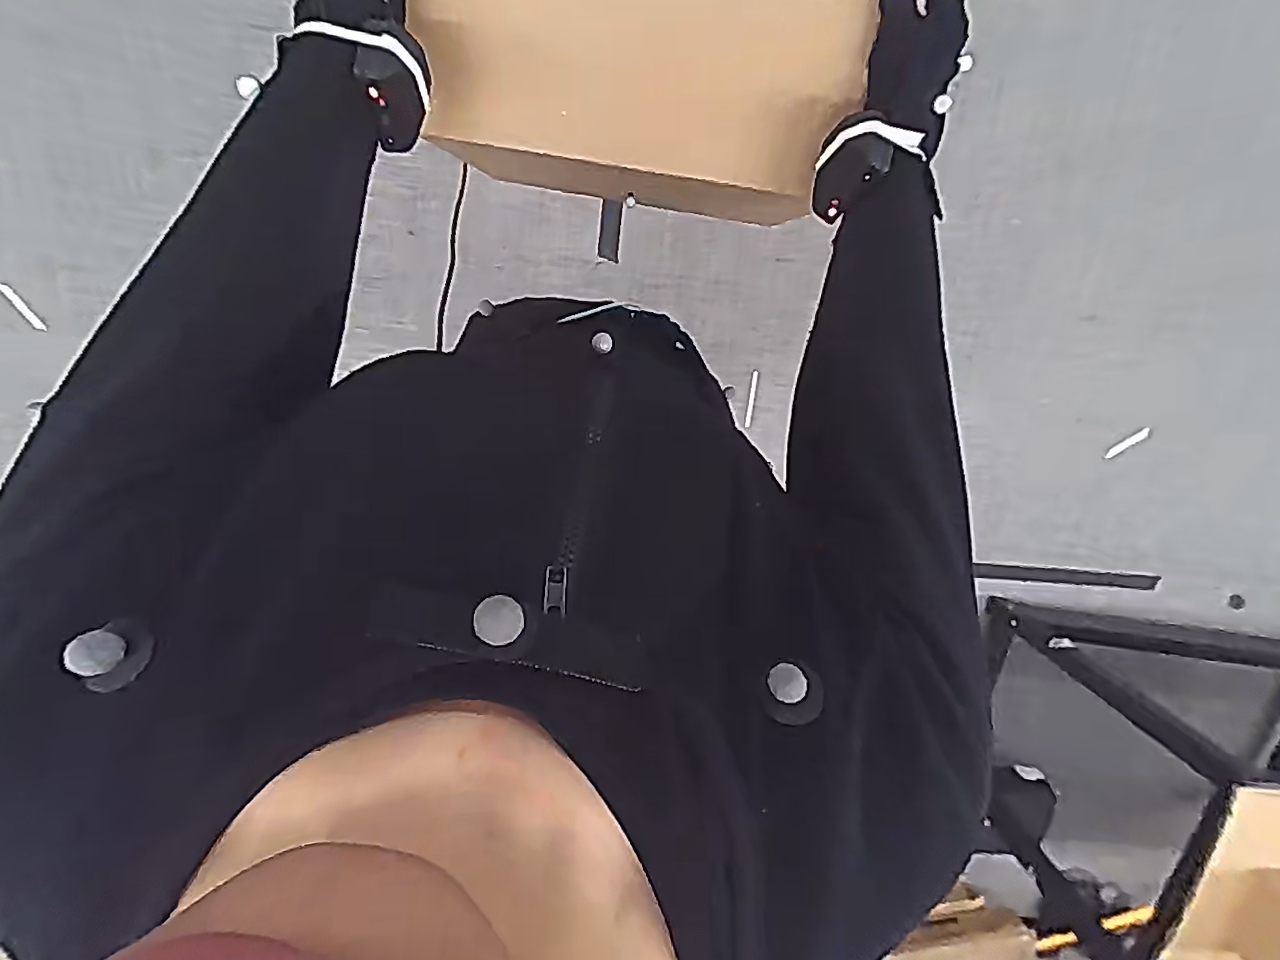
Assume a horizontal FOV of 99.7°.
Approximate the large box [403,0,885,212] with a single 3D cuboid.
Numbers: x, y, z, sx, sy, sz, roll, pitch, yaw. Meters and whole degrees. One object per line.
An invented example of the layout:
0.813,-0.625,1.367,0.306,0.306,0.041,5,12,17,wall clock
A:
0.013,-0.486,0.570,0.408,0.320,0.320,9,111,-2,large box
